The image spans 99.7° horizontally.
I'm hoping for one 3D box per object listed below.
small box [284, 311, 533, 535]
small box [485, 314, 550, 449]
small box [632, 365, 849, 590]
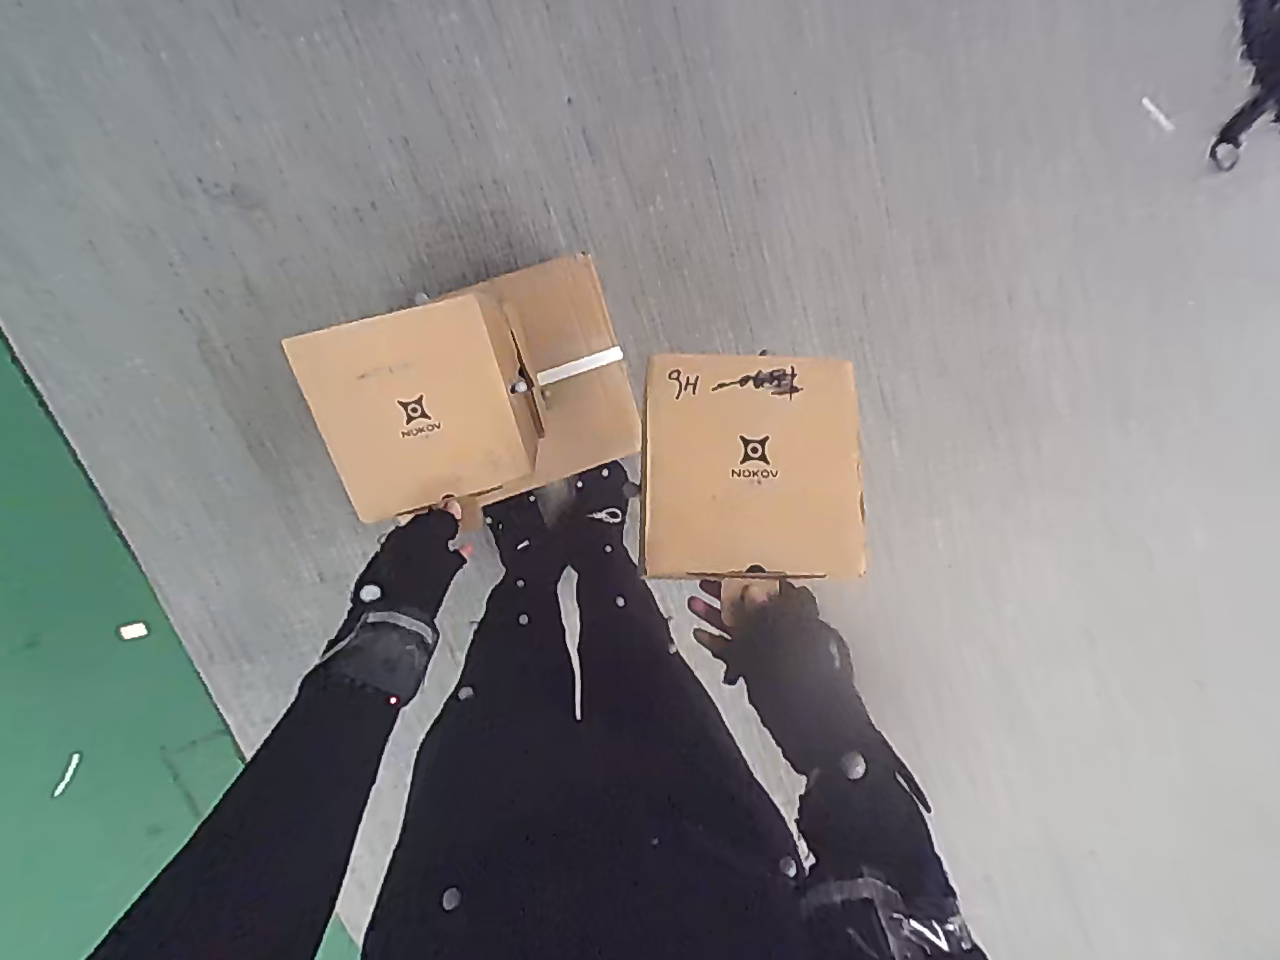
[{"bbox_3d":[-0.215,-0.071,0.564,0.168,0.176,0.179,-17,108,-4],"label":"small box"},{"bbox_3d":[-0.231,-0.116,0.720,0.179,0.176,0.168,-20,110,-3],"label":"small box"},{"bbox_3d":[0.078,0.008,0.498,0.168,0.176,0.179,1,80,-2],"label":"small box"}]
